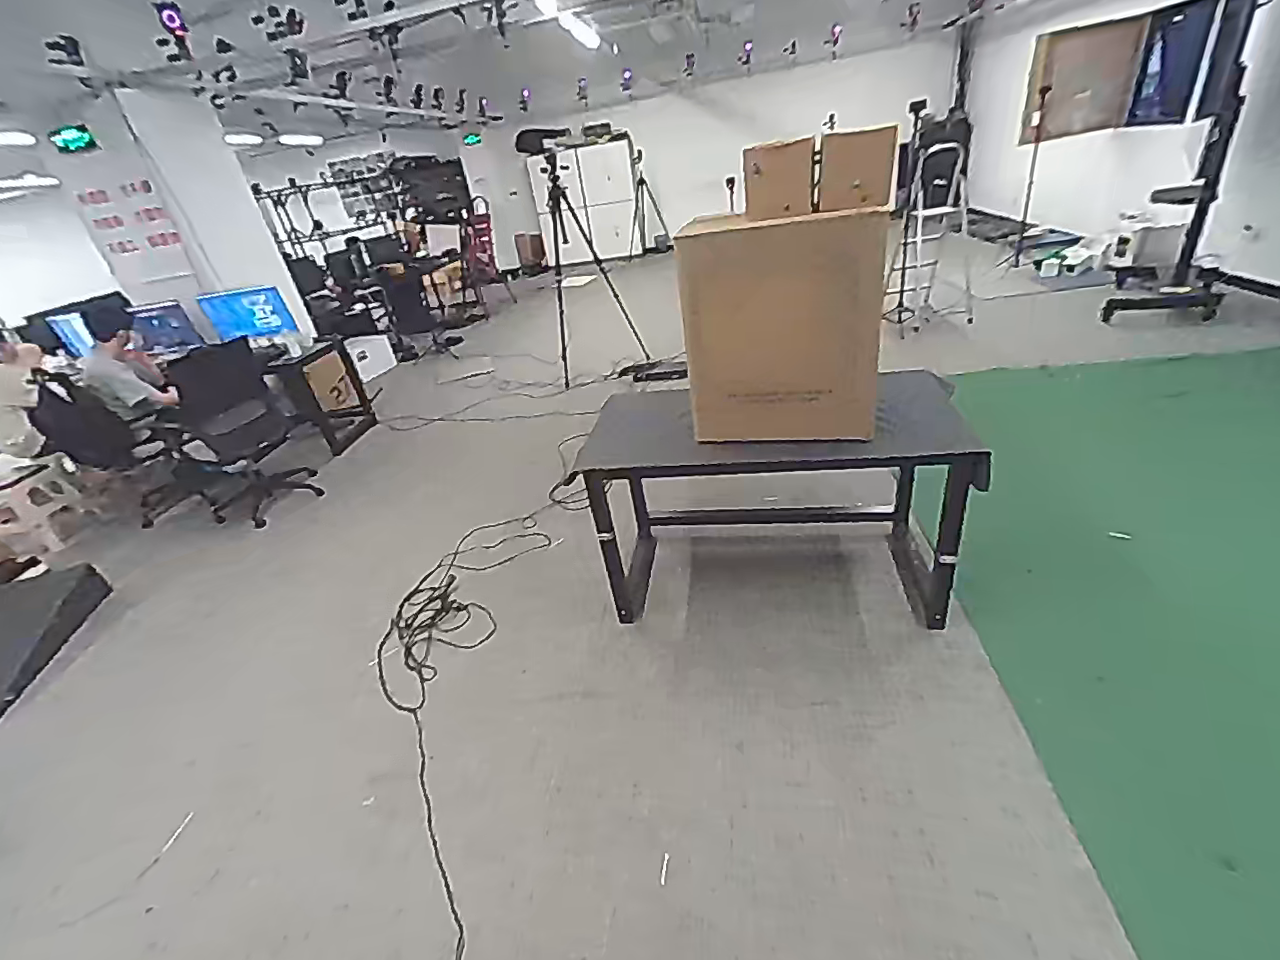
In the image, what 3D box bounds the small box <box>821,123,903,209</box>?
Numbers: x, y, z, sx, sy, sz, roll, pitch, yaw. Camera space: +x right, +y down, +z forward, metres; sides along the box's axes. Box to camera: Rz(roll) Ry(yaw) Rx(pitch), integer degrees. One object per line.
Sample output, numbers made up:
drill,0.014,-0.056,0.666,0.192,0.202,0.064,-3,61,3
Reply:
small box,0.547,-0.785,1.354,0.168,0.176,0.179,2,34,15
